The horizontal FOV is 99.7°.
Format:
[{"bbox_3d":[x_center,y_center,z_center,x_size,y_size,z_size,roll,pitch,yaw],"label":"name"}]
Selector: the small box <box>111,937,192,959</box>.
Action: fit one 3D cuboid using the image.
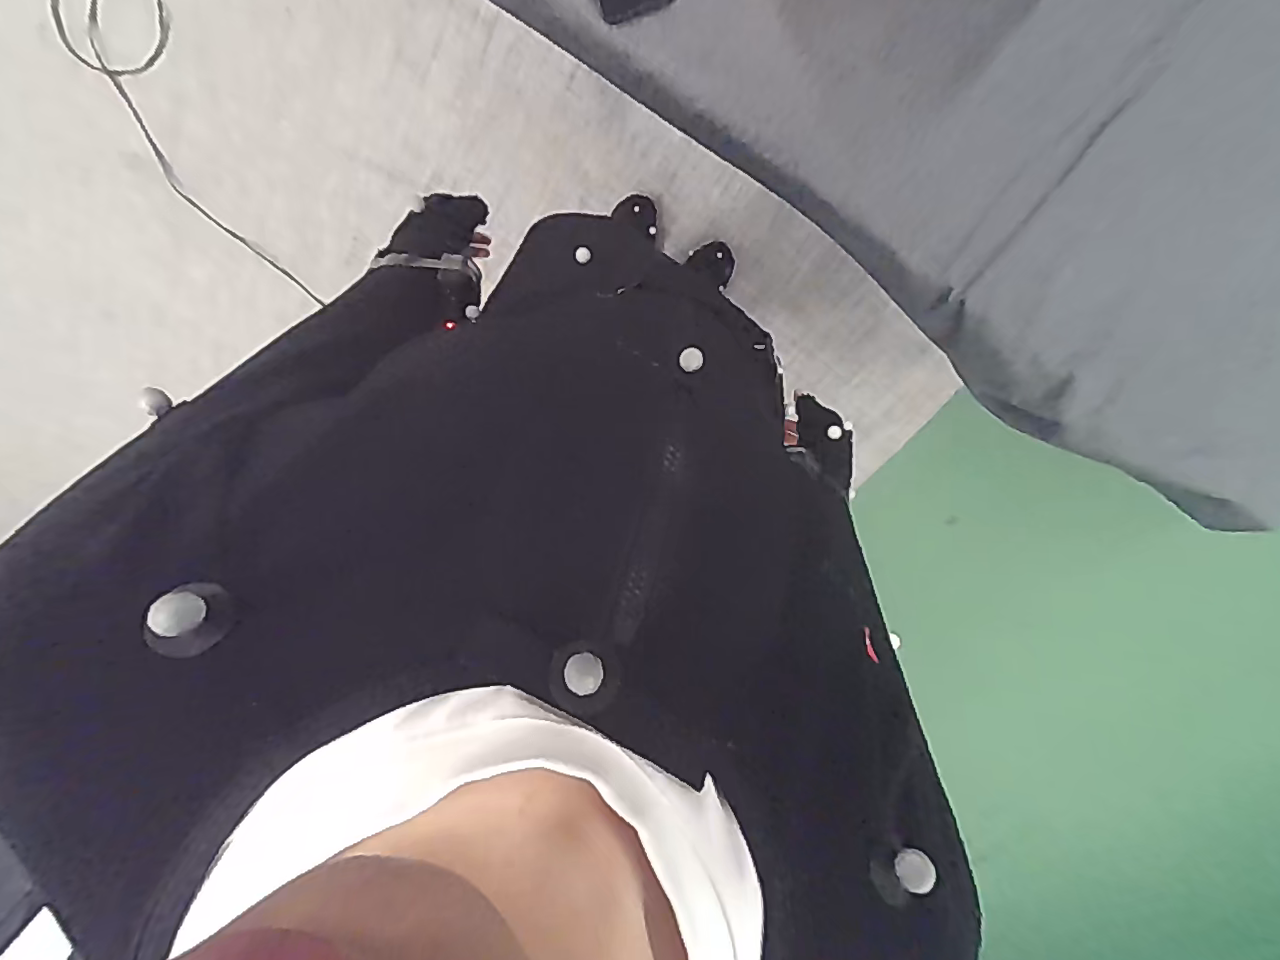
[{"bbox_3d":[-1.268,1.282,1.344,0.179,0.176,0.168,34,118,-11],"label":"small box"}]
